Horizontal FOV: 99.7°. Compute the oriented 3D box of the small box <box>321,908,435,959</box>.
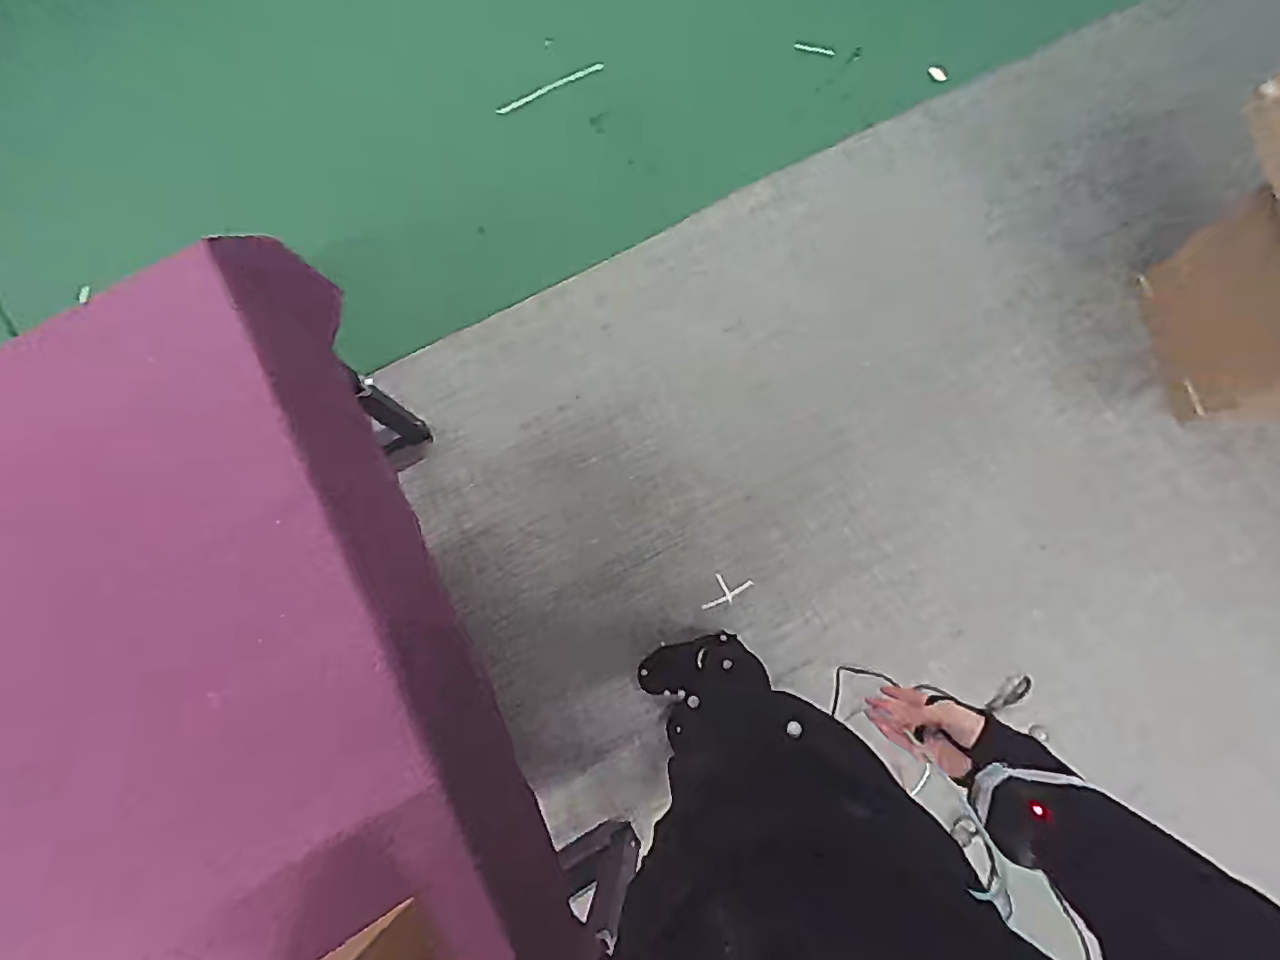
[{"bbox_3d":[-0.271,0.526,0.461,0.179,0.176,0.168,-32,75,-3],"label":"small box"}]
